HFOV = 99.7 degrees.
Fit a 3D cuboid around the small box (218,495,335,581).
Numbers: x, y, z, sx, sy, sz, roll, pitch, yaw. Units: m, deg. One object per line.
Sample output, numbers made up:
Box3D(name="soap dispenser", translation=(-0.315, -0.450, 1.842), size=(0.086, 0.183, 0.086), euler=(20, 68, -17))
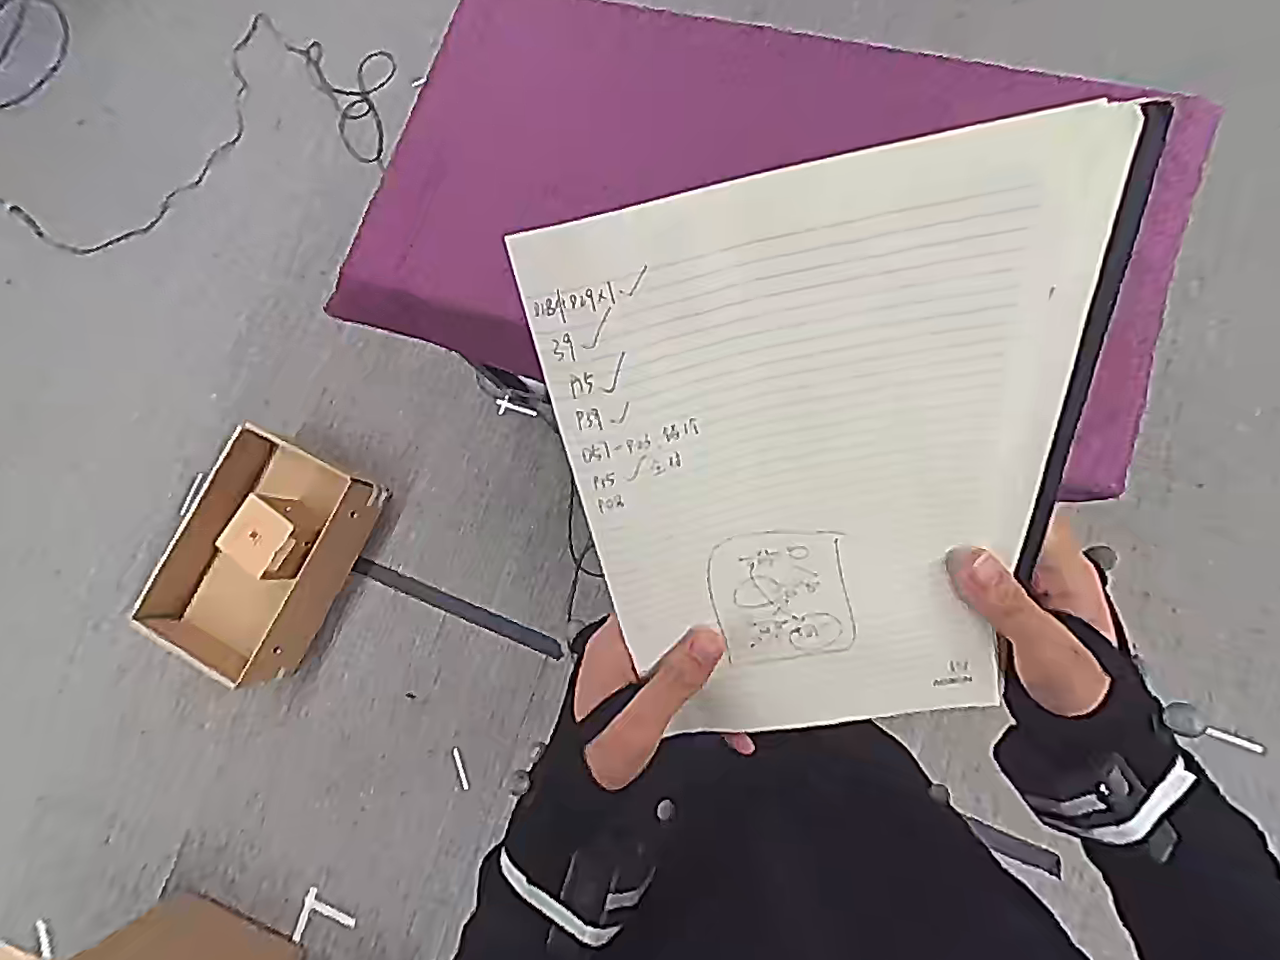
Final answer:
Box3D(name="small box", translation=(-0.999, 0.163, 1.502), size=(0.179, 0.176, 0.168), euler=(33, 86, 12))
